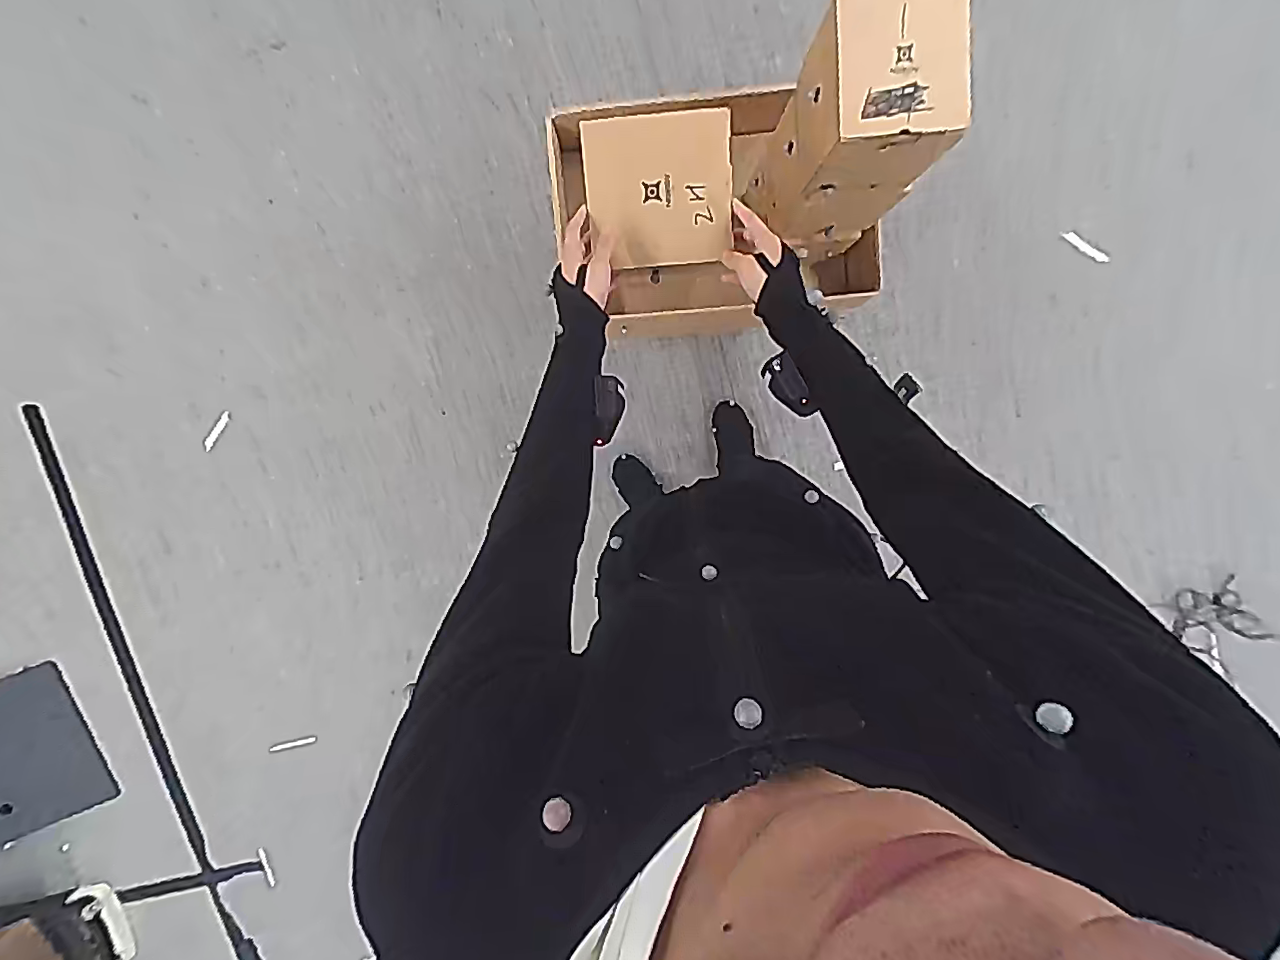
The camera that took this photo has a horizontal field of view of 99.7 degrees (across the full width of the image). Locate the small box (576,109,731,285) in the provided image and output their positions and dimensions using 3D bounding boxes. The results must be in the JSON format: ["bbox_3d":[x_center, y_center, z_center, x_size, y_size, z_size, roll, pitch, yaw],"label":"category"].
[{"bbox_3d":[0.020,-0.354,0.708,0.179,0.176,0.168,-4,105,1],"label":"small box"}]

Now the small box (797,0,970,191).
[{"bbox_3d":[0.320,-0.516,0.740,0.168,0.176,0.179,-4,95,0],"label":"small box"}]

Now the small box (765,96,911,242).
[{"bbox_3d":[0.322,-0.517,0.905,0.179,0.176,0.168,-8,95,0],"label":"small box"}]
